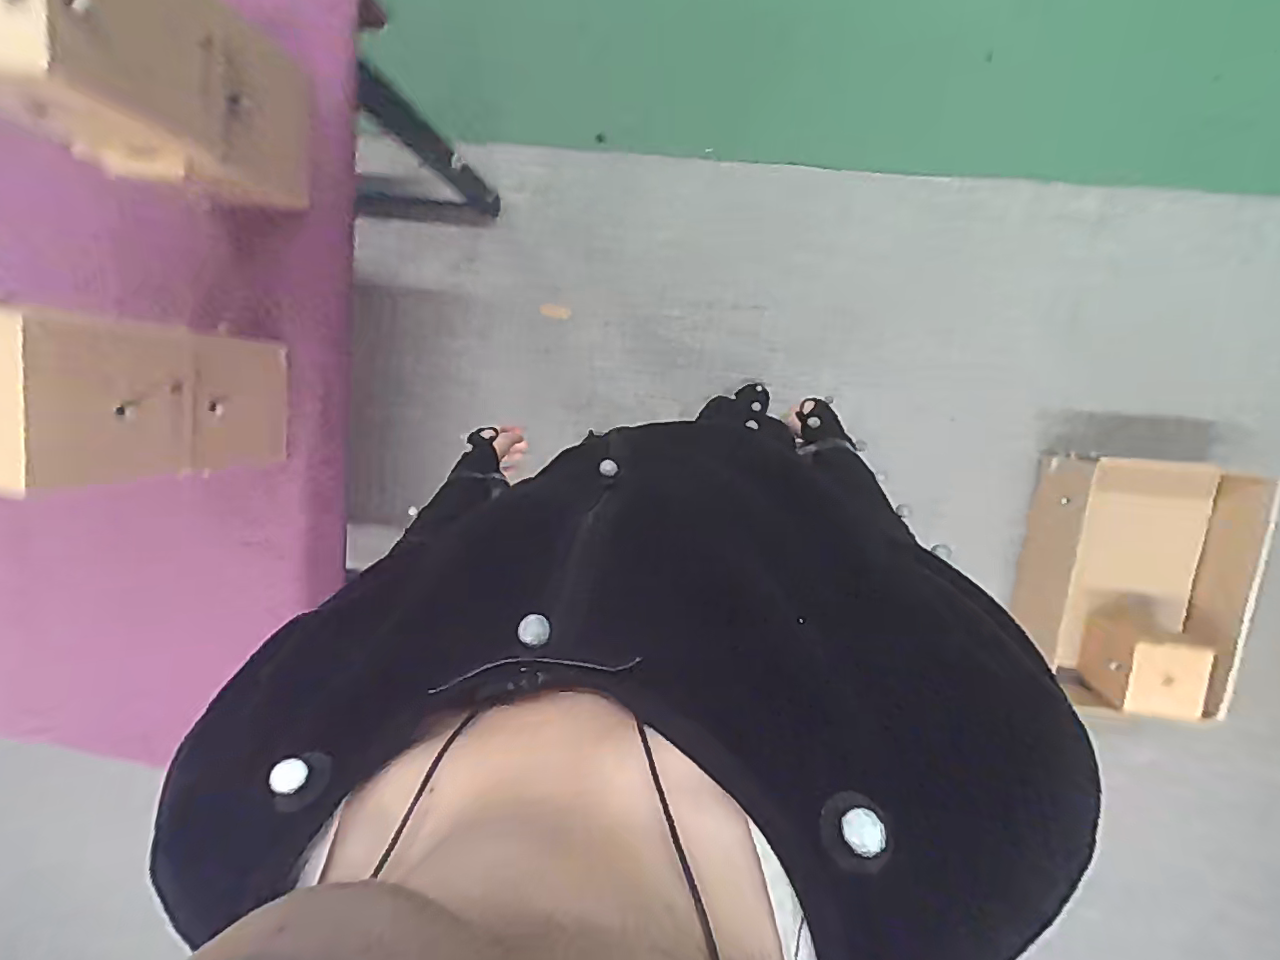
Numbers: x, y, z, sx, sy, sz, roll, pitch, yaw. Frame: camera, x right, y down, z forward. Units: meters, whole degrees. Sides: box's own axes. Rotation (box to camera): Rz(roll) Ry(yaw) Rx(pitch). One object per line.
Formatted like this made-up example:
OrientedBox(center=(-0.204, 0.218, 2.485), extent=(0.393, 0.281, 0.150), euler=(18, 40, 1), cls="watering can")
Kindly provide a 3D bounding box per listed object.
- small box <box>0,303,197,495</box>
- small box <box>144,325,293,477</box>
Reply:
OrientedBox(center=(-0.619, -0.093, 0.574), extent=(0.179, 0.176, 0.168), euler=(11, 99, 4), cls="small box")
OrientedBox(center=(-0.608, -0.112, 0.736), extent=(0.168, 0.176, 0.179), euler=(8, 99, 5), cls="small box")
